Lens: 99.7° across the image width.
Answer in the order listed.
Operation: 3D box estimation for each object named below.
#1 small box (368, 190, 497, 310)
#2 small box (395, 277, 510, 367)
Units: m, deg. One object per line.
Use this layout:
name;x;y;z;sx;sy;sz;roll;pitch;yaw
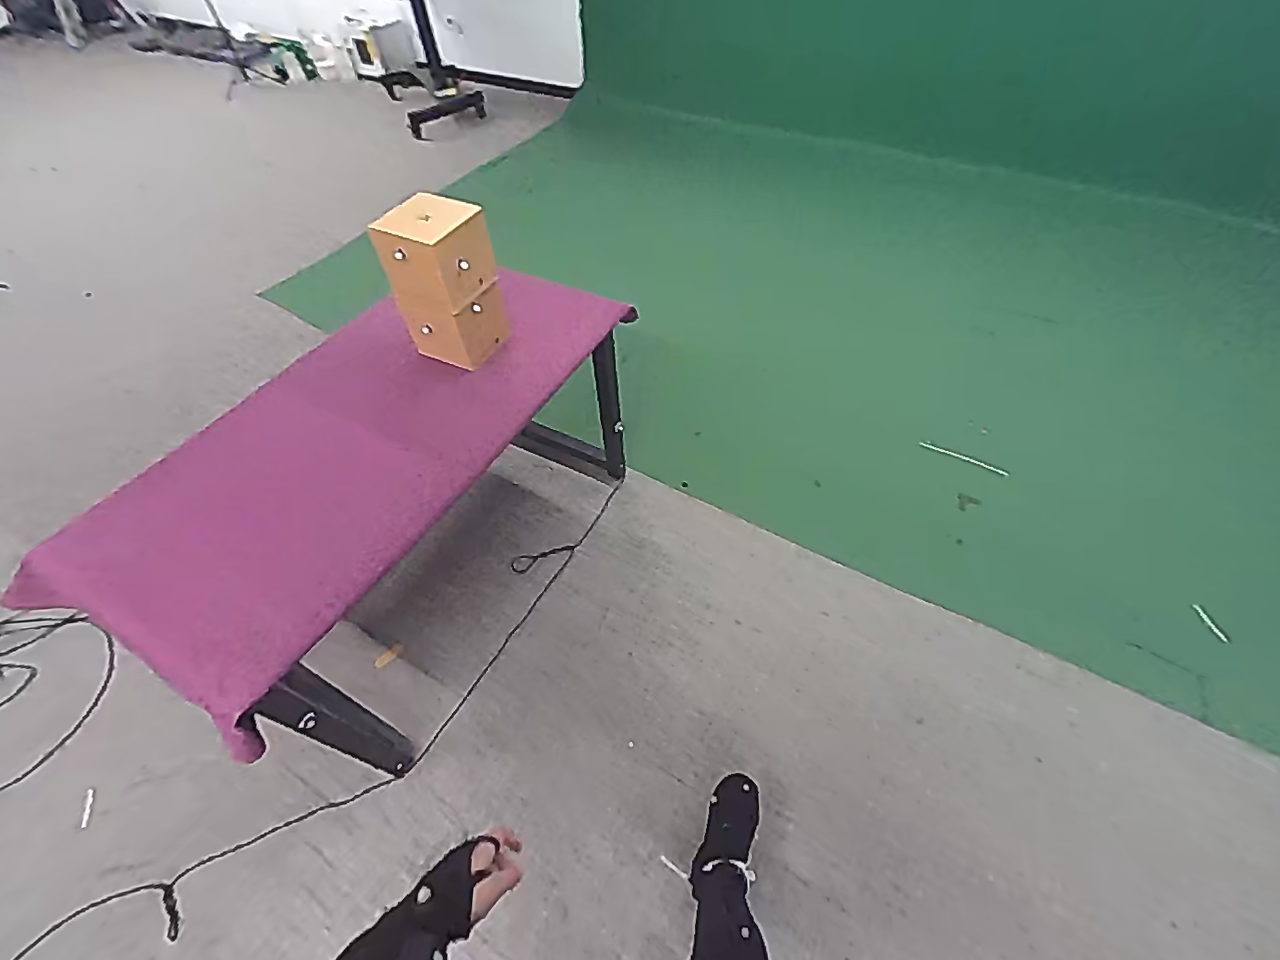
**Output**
small box;-0.438;-0.494;1.175;0.179;0.176;0.168;22;57;17
small box;-0.444;-0.398;1.307;0.179;0.176;0.168;20;56;17
